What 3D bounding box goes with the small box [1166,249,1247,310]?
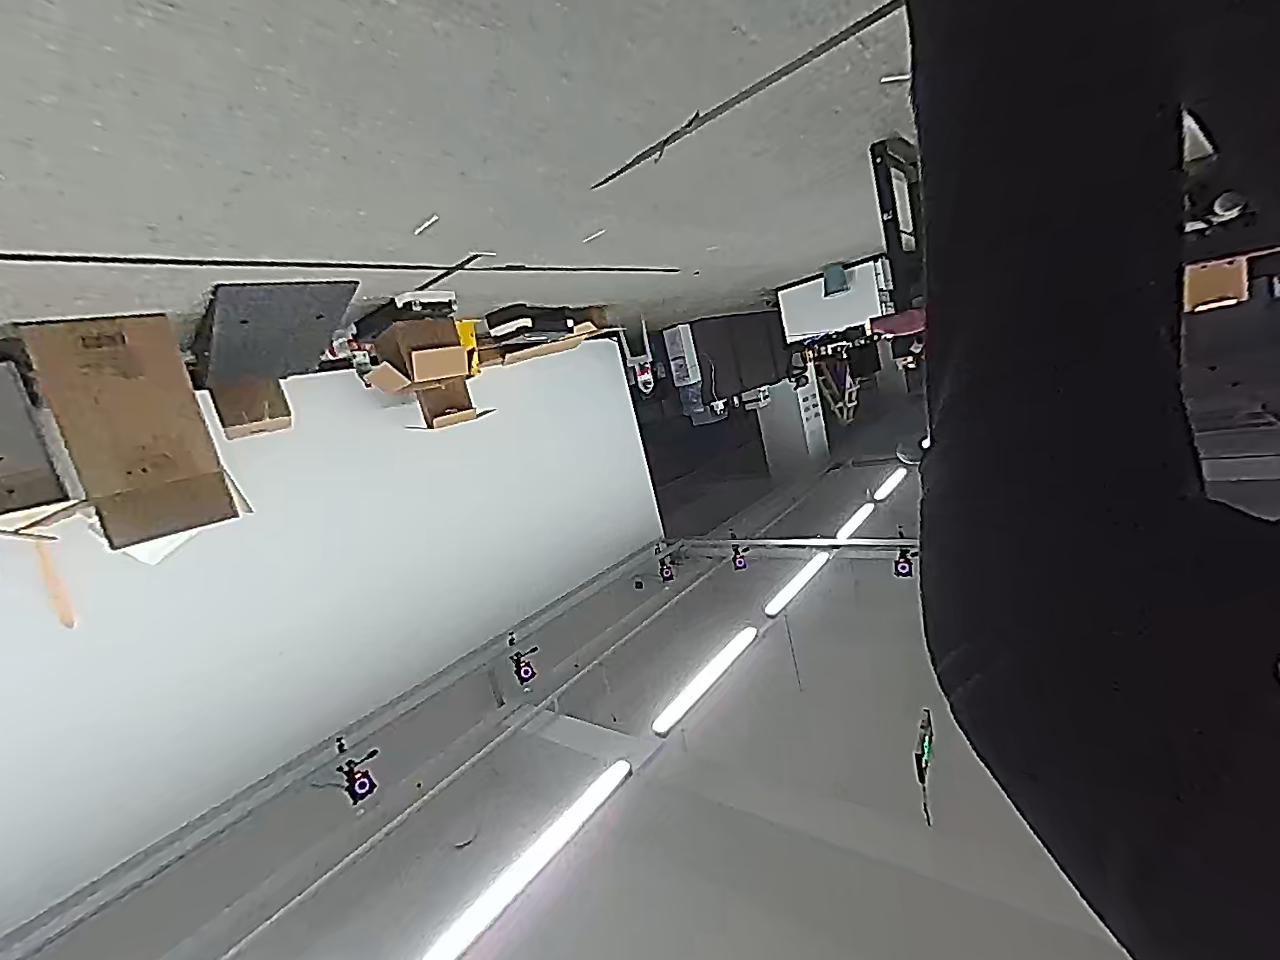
[{"bbox_3d":[2.022,-0.717,1.938,0.168,0.176,0.179,-6,-168,34],"label":"small box"}]
